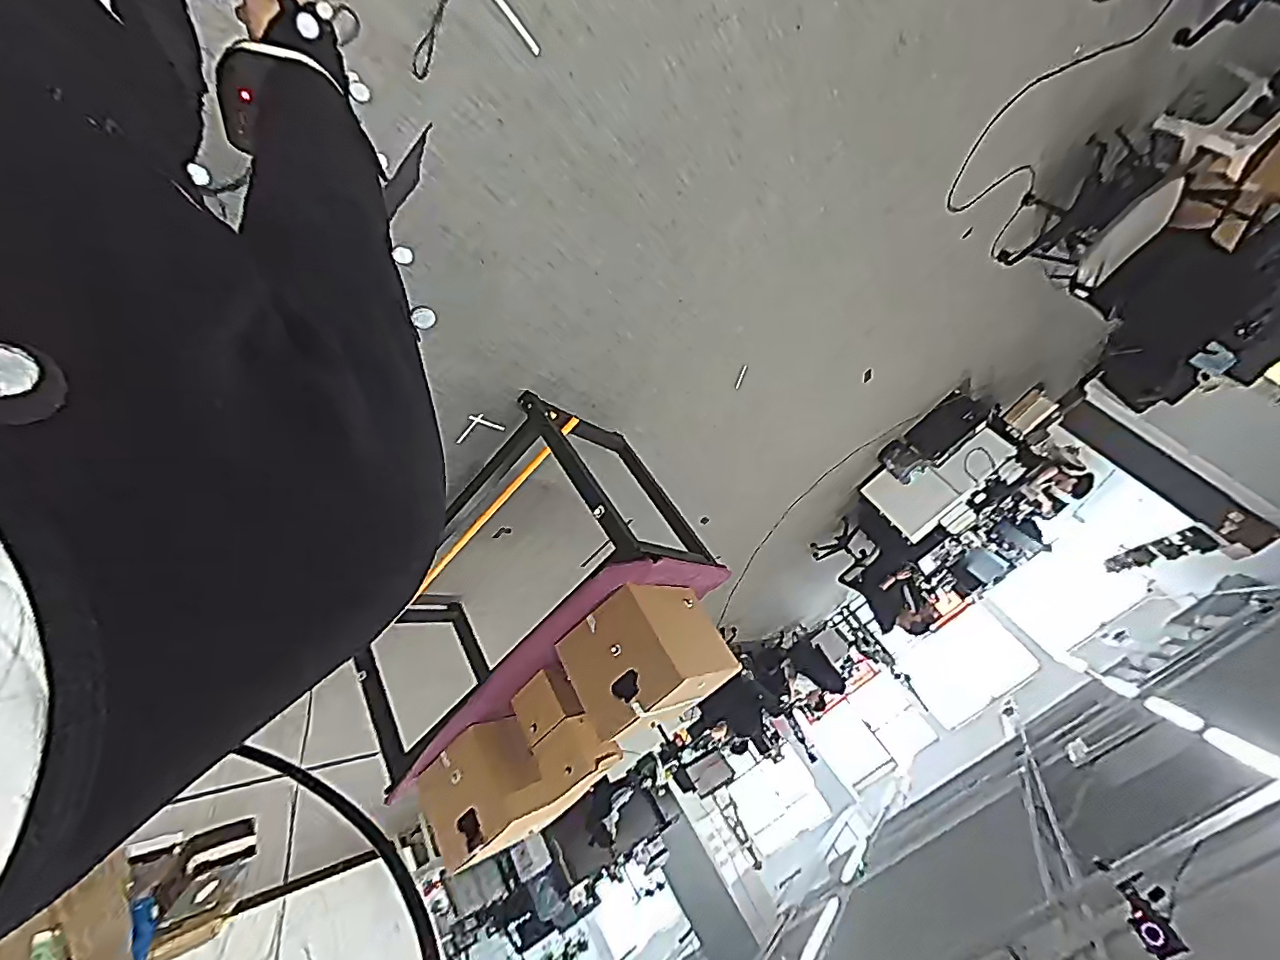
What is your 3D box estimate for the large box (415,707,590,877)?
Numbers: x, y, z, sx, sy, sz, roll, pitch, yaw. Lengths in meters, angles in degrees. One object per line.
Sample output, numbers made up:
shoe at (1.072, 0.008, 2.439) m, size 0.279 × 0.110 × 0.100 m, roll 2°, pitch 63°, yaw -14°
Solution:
large box at (-0.455, 1.009, 1.803) m, size 0.320 × 0.320 × 0.408 m, roll -45°, pitch 151°, yaw 15°
